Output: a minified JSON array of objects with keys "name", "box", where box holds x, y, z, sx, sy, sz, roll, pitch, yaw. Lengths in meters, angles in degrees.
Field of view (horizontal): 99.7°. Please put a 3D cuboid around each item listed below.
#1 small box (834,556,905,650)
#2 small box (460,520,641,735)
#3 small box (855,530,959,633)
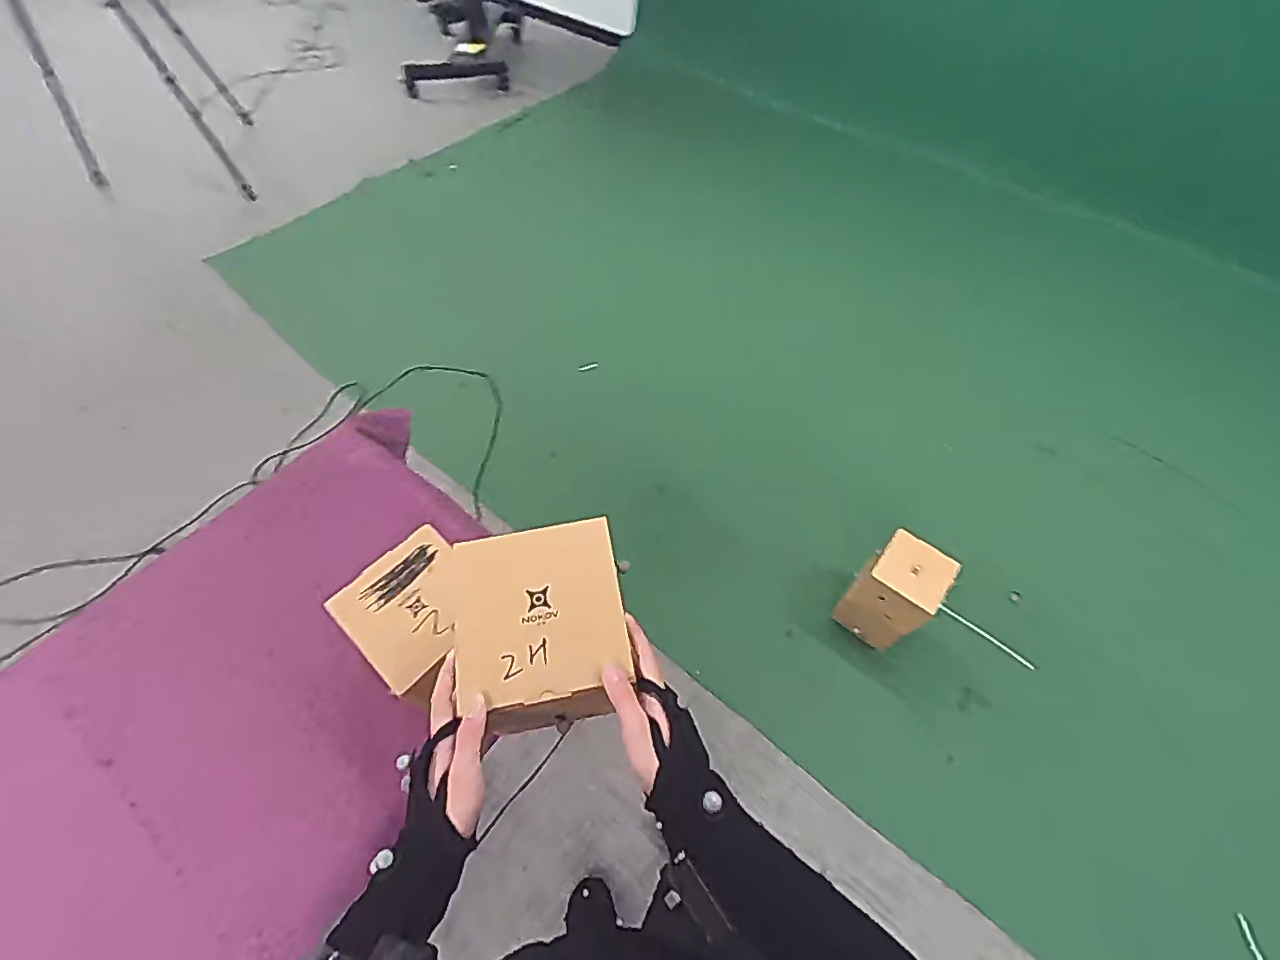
[{"name":"small box","box":[0.687,0.358,1.560,0.168,0.176,0.179,35,64,20]},{"name":"small box","box":[-0.093,0.168,0.600,0.168,0.176,0.179,-9,59,-4]},{"name":"small box","box":[0.692,0.272,1.424,0.168,0.176,0.179,34,62,20]}]
